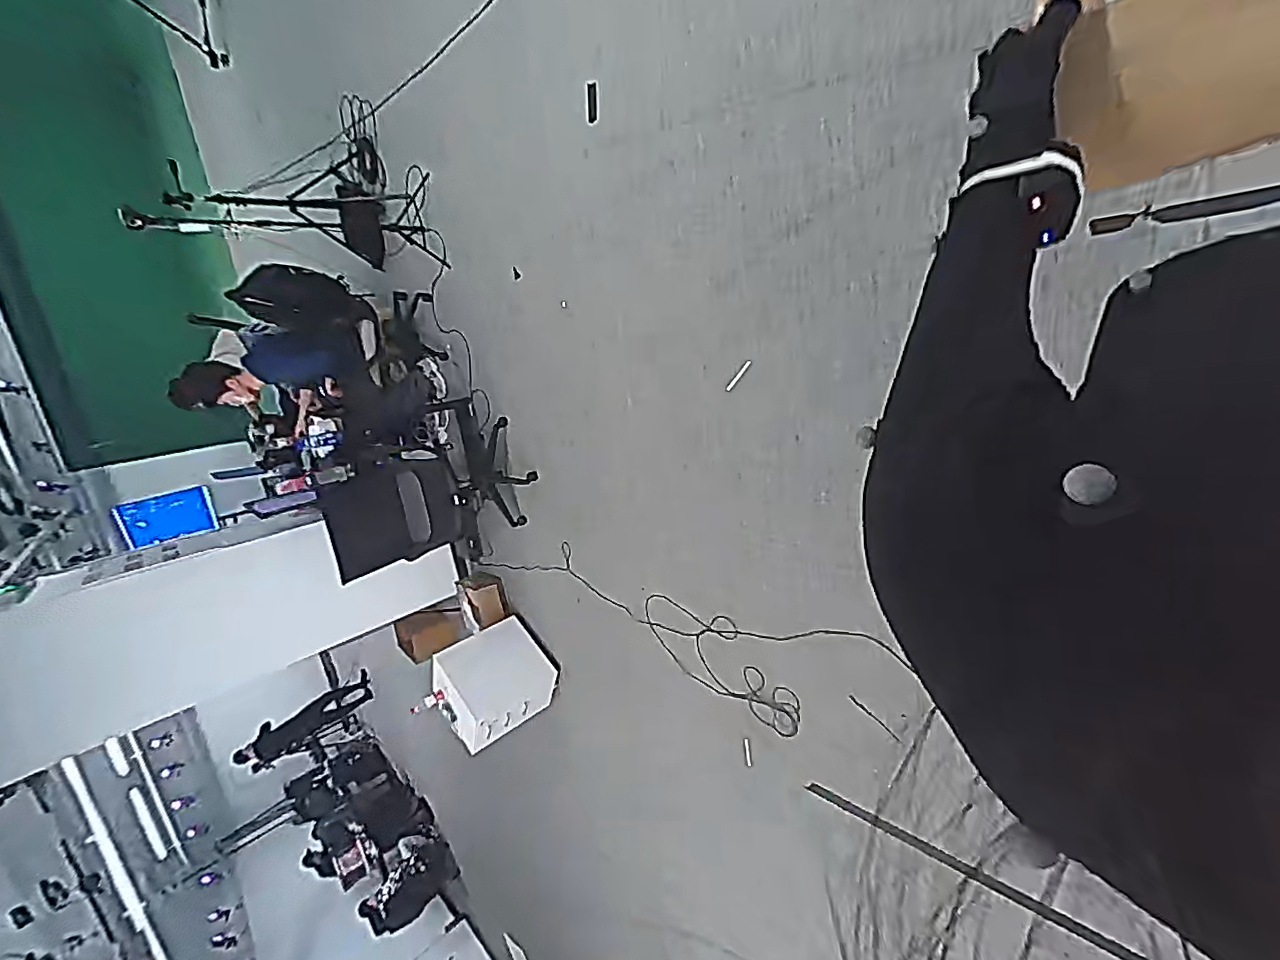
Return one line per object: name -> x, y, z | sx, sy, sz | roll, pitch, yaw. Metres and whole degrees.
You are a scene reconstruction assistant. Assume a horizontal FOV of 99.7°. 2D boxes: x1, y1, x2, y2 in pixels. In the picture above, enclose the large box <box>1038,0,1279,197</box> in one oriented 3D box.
large box -> 0.588, -0.478, 0.434 | 0.408, 0.320, 0.320 | -2, 115, 46
